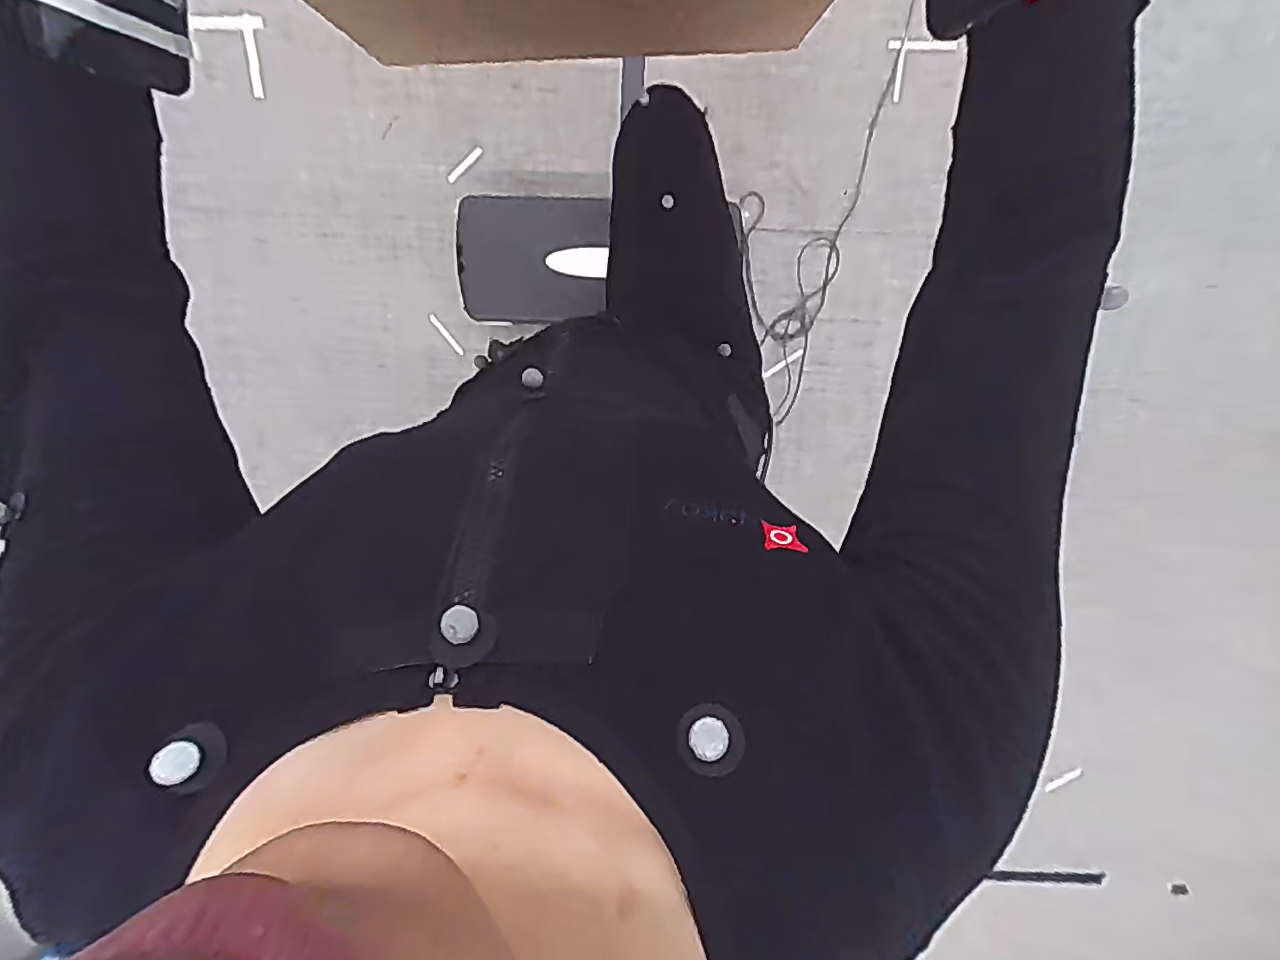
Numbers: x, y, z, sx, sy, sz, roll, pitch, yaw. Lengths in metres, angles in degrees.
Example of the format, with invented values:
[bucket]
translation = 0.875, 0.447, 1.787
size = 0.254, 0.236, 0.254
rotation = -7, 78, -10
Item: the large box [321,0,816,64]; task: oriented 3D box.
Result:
[large box]
translation = -0.053, -0.502, 0.331
size = 0.408, 0.320, 0.320
rotation = -3, 112, 0
